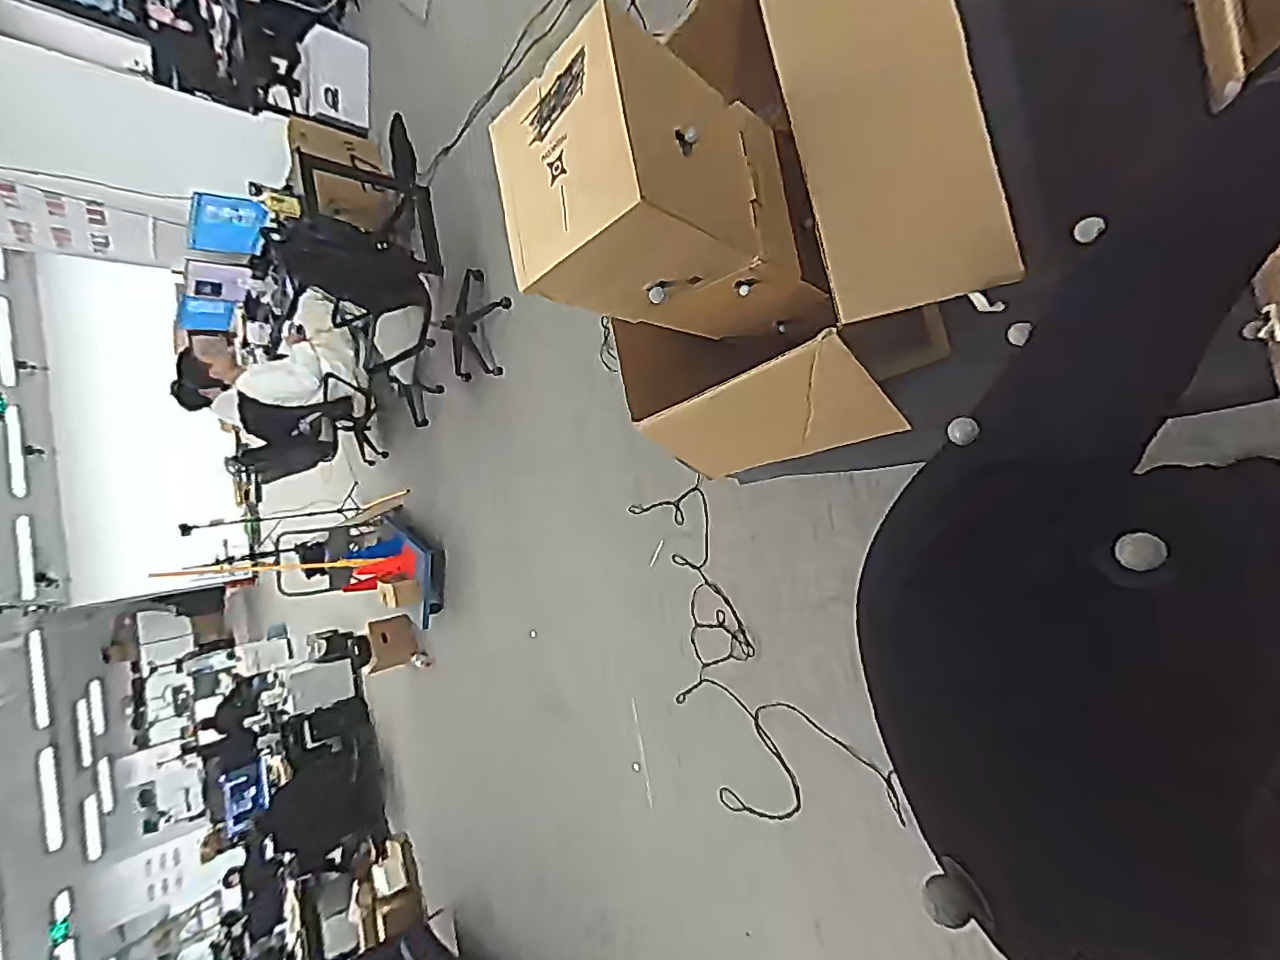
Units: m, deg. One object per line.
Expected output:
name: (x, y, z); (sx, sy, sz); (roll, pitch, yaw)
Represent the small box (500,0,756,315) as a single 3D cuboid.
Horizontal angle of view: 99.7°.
small box: (-0.010, -0.284, 0.526); (0.168, 0.176, 0.179); (-15, 83, 42)
